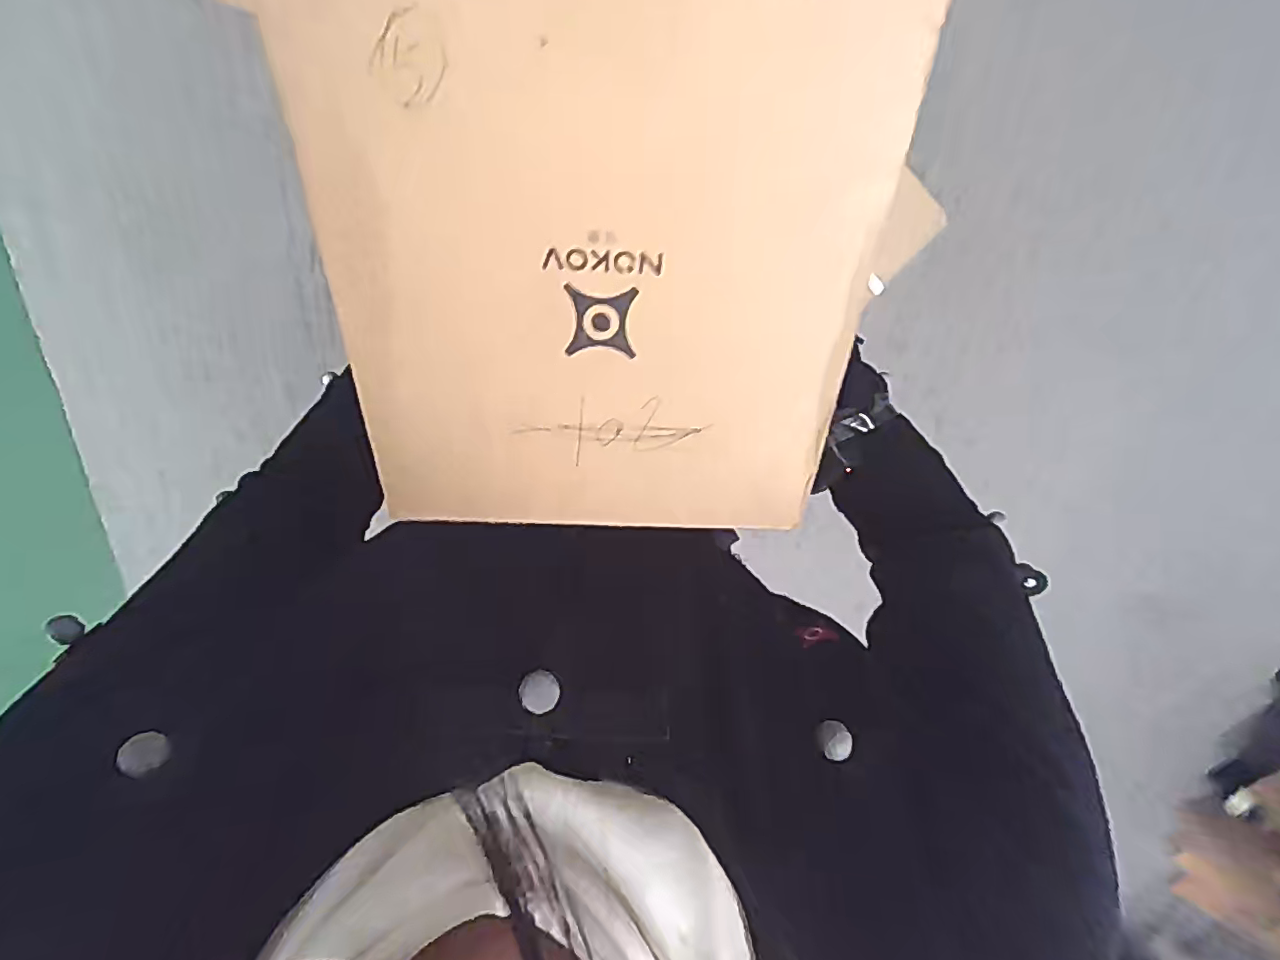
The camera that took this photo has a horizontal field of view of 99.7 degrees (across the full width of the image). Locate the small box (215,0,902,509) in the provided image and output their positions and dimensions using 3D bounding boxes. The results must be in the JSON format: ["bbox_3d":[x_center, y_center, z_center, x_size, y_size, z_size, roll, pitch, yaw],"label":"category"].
[{"bbox_3d":[-0.022,-0.107,0.230,0.168,0.176,0.179,1,126,-1],"label":"small box"}]
